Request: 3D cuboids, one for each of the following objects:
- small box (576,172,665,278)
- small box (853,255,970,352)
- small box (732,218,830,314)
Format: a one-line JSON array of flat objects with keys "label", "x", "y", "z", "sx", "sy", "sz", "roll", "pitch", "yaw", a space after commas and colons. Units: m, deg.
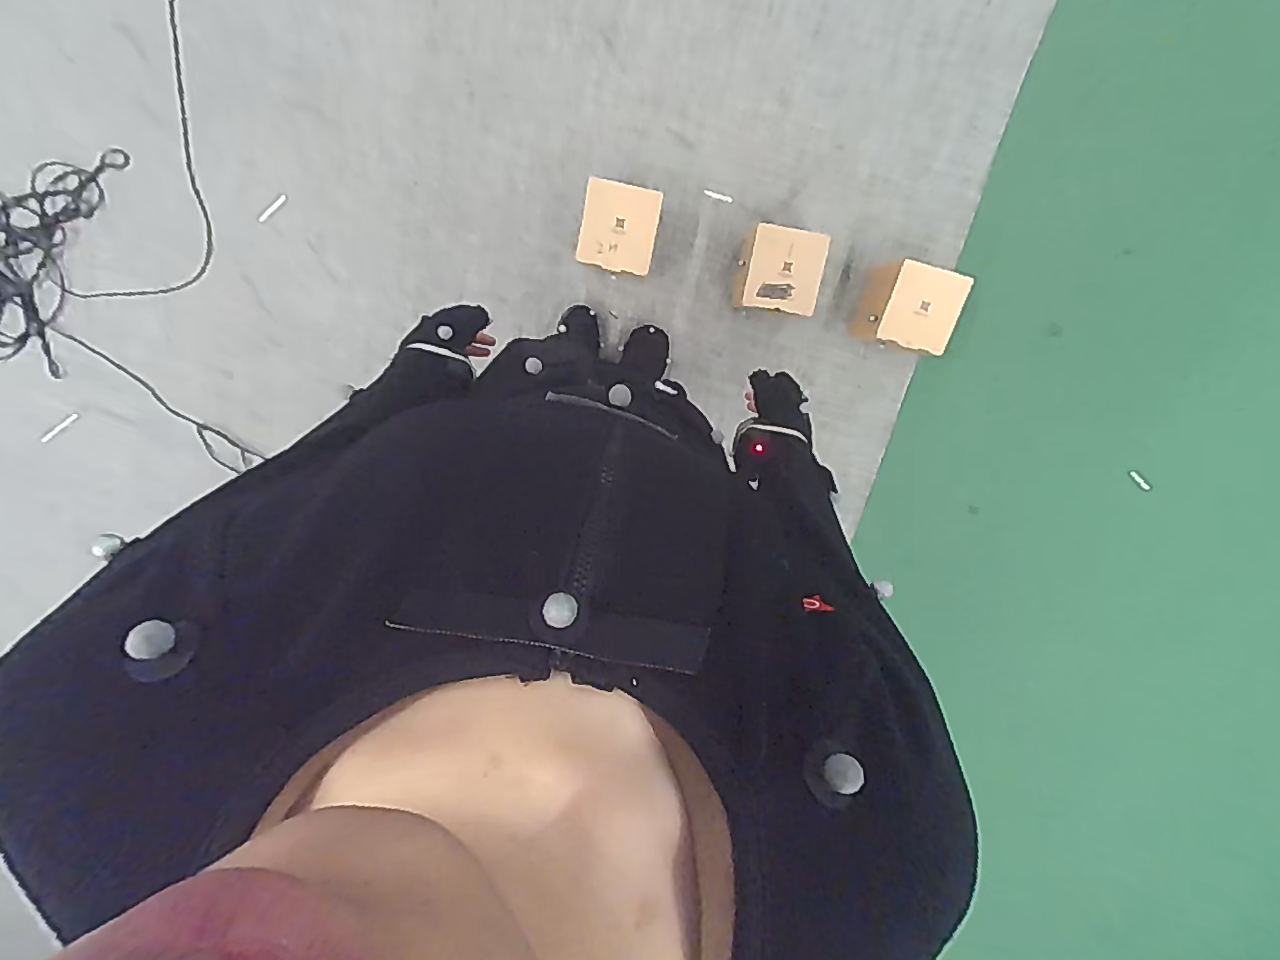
[{"label": "small box", "x": -0.043, "y": -0.580, "z": 1.250, "sx": 0.168, "sy": 0.176, "sz": 0.179, "roll": 12, "pitch": 106, "yaw": -2}, {"label": "small box", "x": 0.635, "y": -0.416, "z": 1.292, "sx": 0.168, "sy": 0.176, "sz": 0.179, "roll": 15, "pitch": 106, "yaw": -3}, {"label": "small box", "x": 0.321, "y": -0.493, "z": 1.272, "sx": 0.168, "sy": 0.176, "sz": 0.179, "roll": 10, "pitch": 105, "yaw": -2}]
